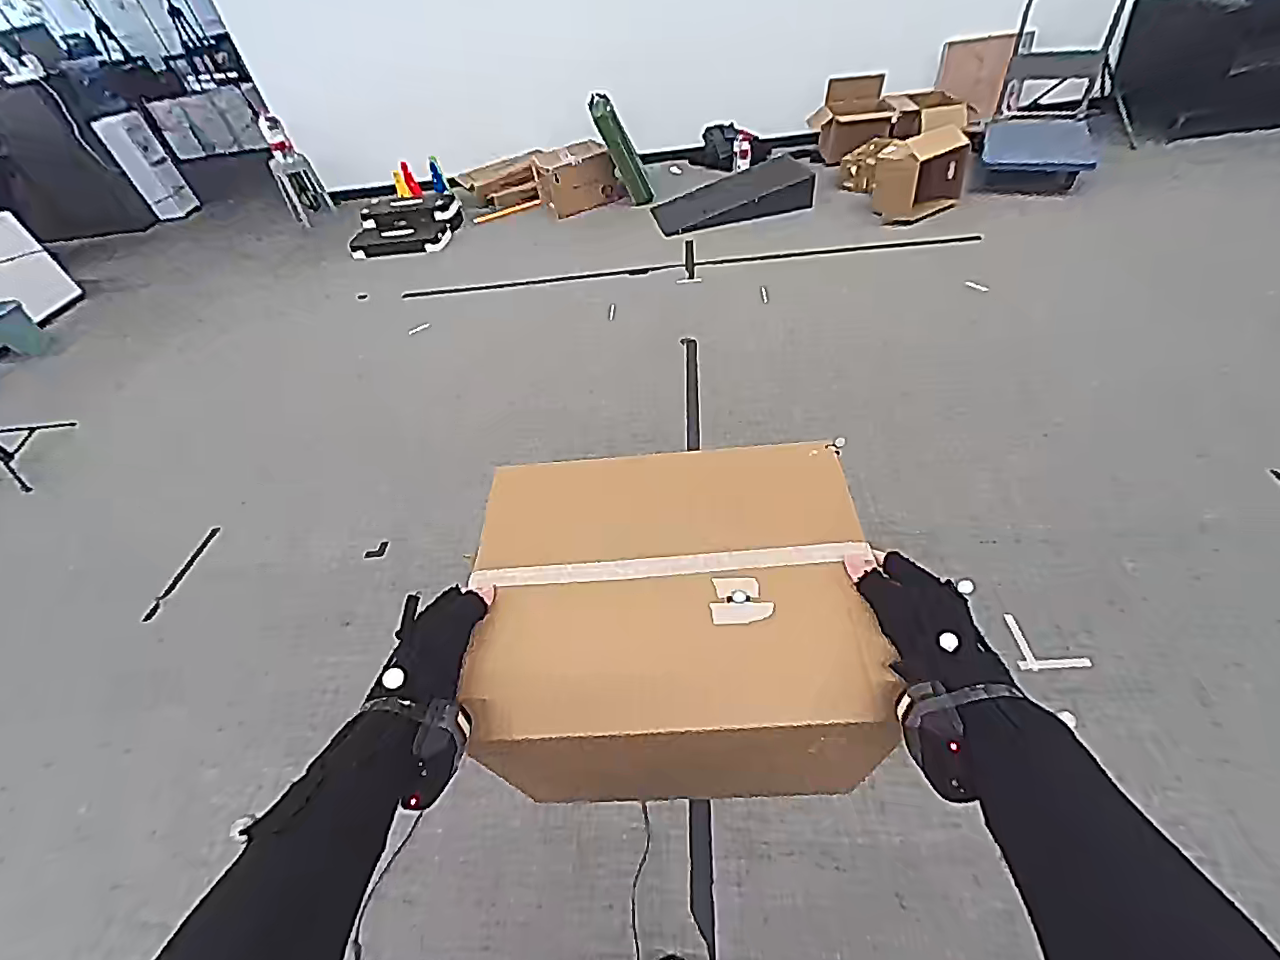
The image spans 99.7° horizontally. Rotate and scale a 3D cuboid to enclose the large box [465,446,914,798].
[{"bbox_3d":[0.047,0.187,0.678,0.408,0.320,0.320,-4,51,3],"label":"large box"}]
